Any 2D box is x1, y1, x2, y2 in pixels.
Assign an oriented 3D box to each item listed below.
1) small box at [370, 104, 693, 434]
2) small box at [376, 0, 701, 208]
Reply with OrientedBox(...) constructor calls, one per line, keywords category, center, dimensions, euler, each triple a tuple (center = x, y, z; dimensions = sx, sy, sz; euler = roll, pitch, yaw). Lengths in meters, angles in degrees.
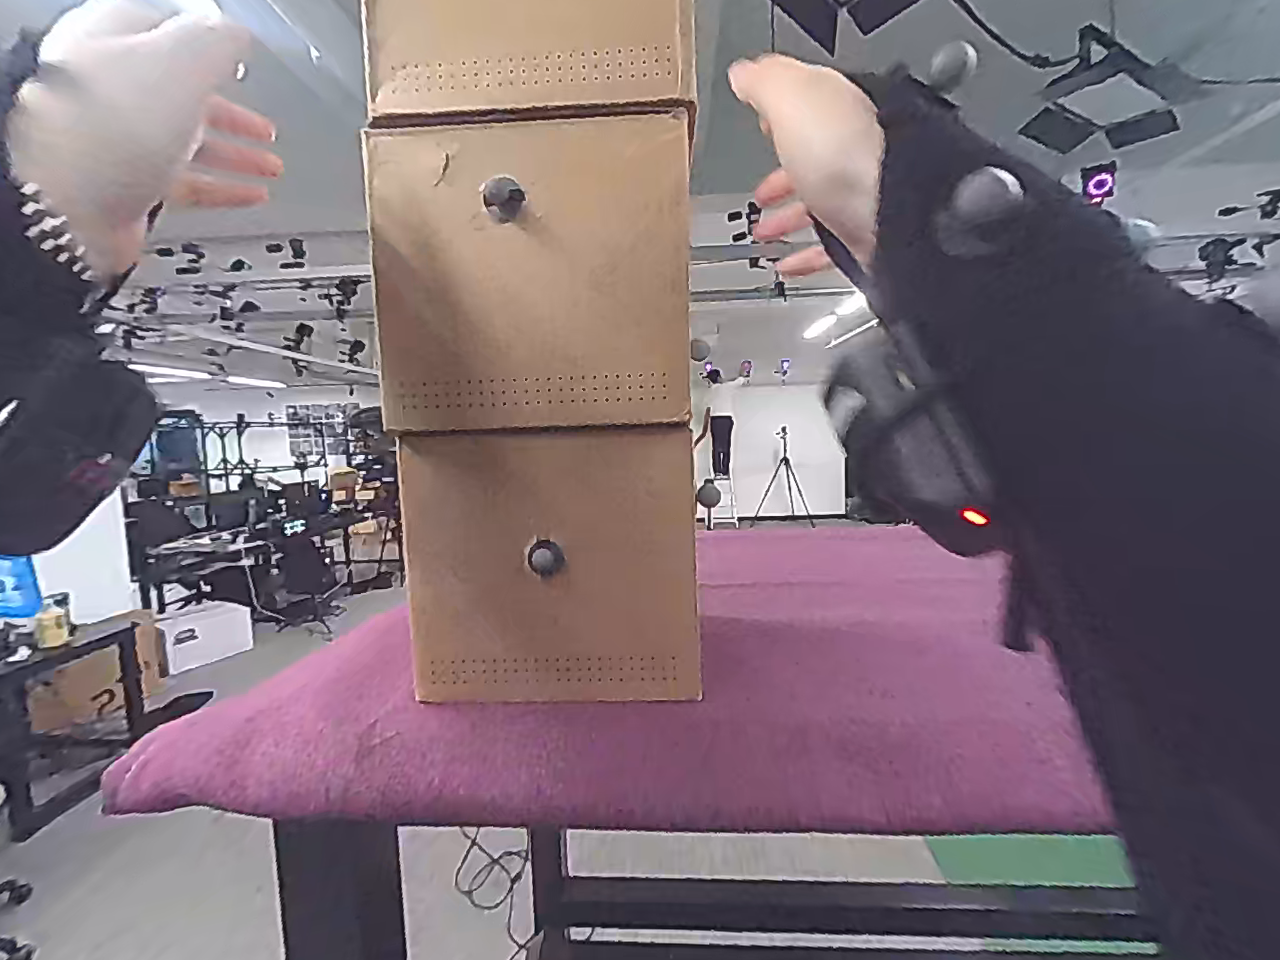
OrientedBox(category="small box", center=(-0.056, -0.119, 0.374), dimensions=(0.179, 0.176, 0.168), euler=(-1, 6, 3))
OrientedBox(category="small box", center=(-0.056, -0.282, 0.356), dimensions=(0.179, 0.176, 0.168), euler=(-3, 6, 2))
